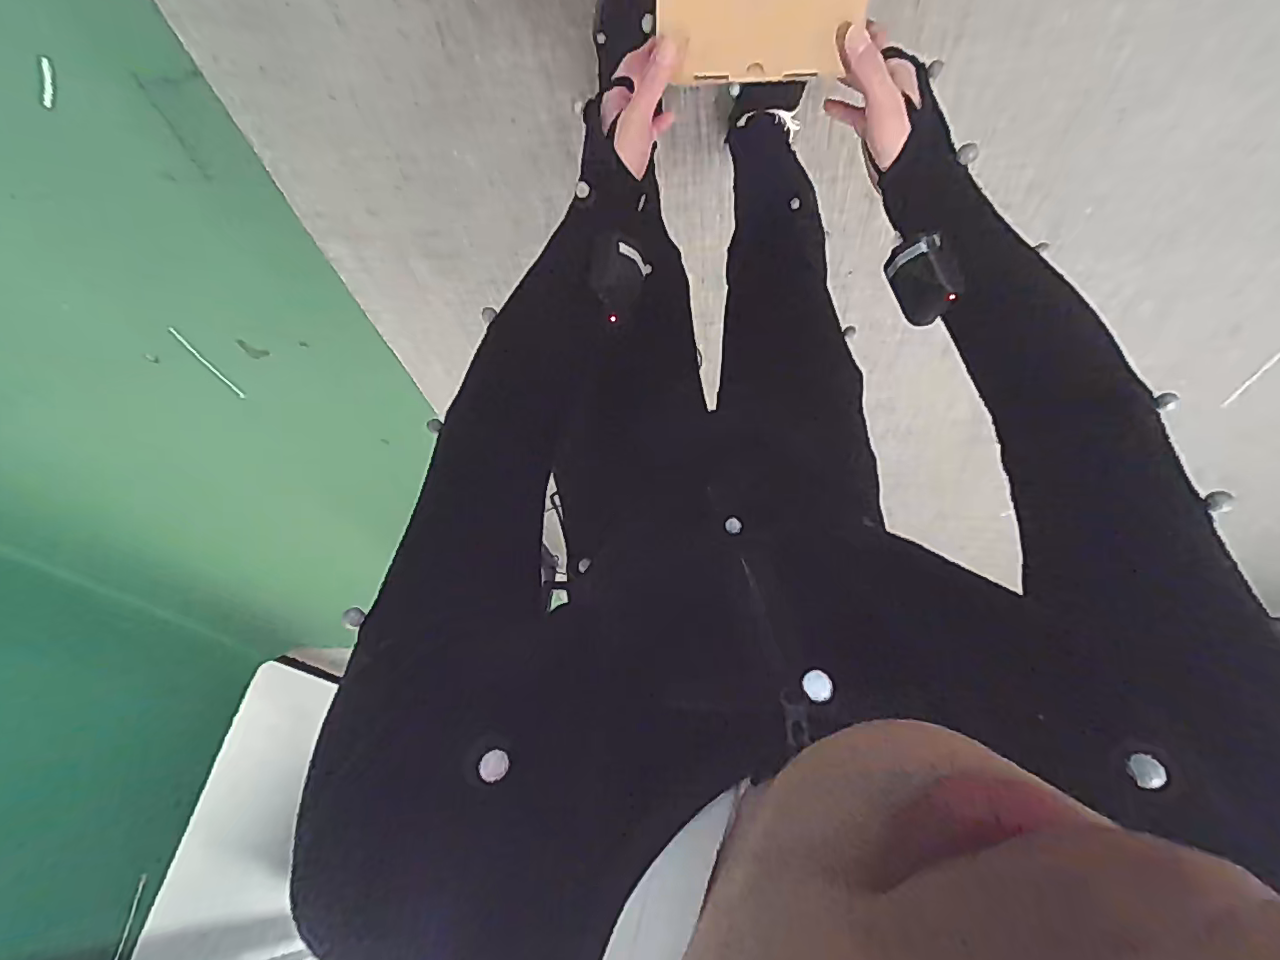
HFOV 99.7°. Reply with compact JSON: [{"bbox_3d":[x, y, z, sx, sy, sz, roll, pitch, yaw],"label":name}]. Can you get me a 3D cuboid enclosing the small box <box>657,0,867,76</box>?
[{"bbox_3d":[0.102,-0.457,0.462,0.168,0.176,0.179,3,127,5],"label":"small box"}]
